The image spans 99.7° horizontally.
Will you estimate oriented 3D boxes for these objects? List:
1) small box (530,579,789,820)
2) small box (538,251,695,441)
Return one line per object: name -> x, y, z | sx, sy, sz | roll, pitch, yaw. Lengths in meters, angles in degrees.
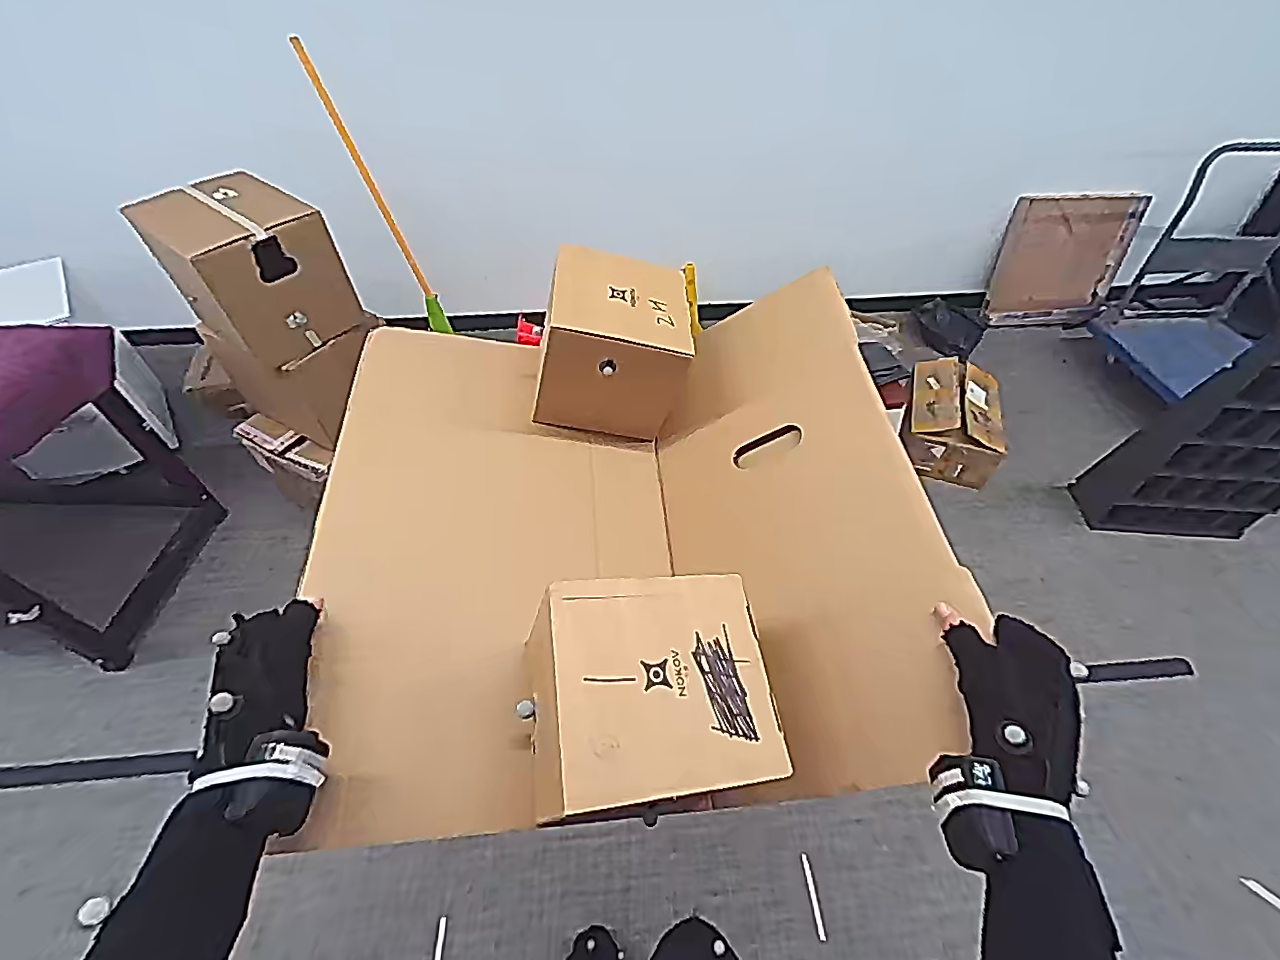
small box -> 0.000, 0.198, 0.489 | 0.179, 0.176, 0.168 | 1, 57, -17
small box -> -0.038, -0.173, 0.734 | 0.179, 0.176, 0.168 | 9, 54, -14
